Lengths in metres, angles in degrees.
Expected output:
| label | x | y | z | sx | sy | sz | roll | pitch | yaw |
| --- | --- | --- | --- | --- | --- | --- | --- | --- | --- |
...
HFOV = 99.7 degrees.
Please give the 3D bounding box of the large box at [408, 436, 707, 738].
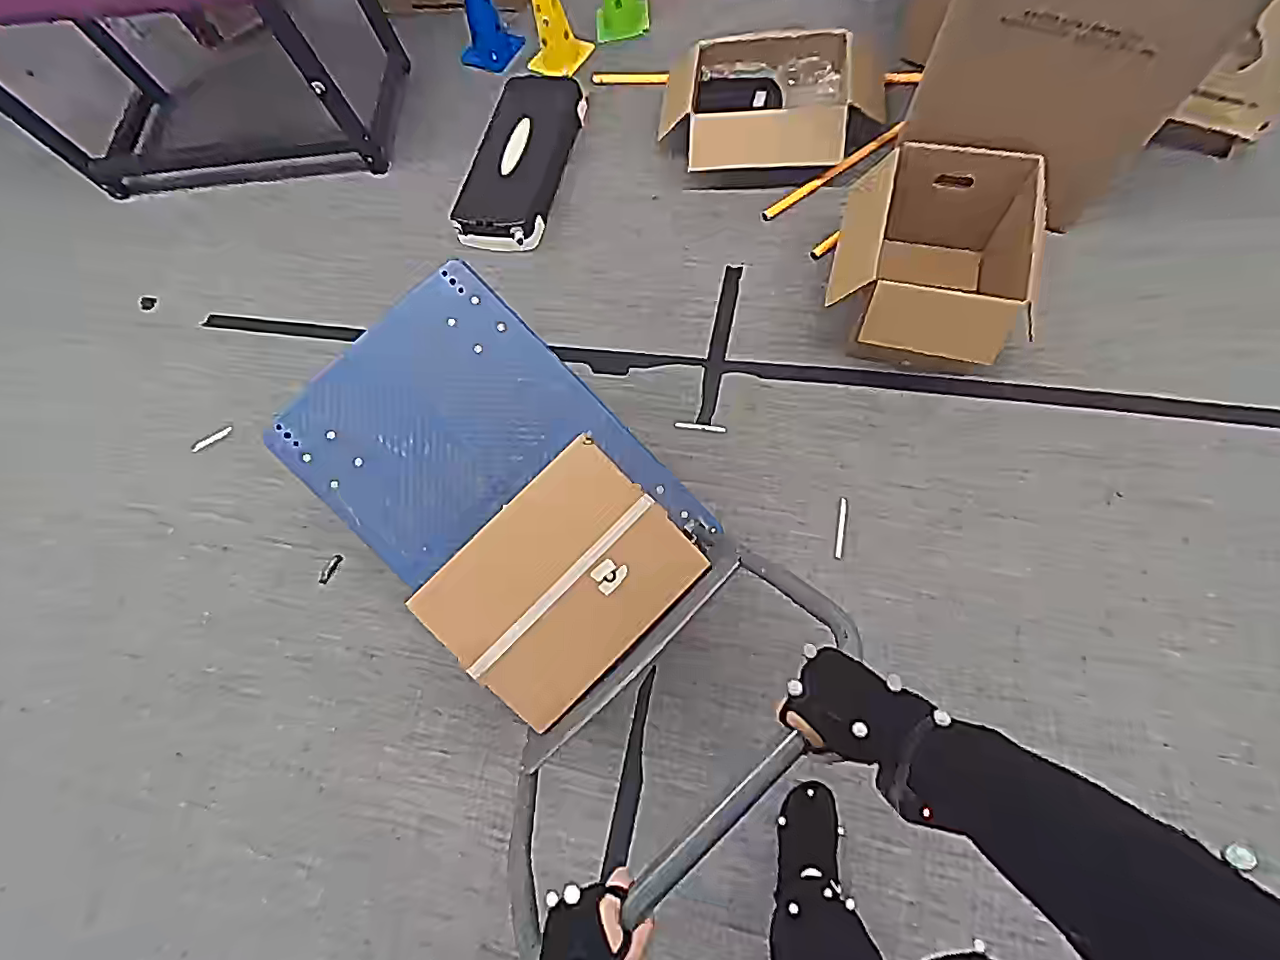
| label | x | y | z | sx | sy | sz | roll | pitch | yaw |
| --- | --- | --- | --- | --- | --- | --- | --- | --- | --- |
| large box | -0.143 | 0.177 | 1.028 | 0.320 | 0.320 | 0.408 | 45 | 86 | -4 |
